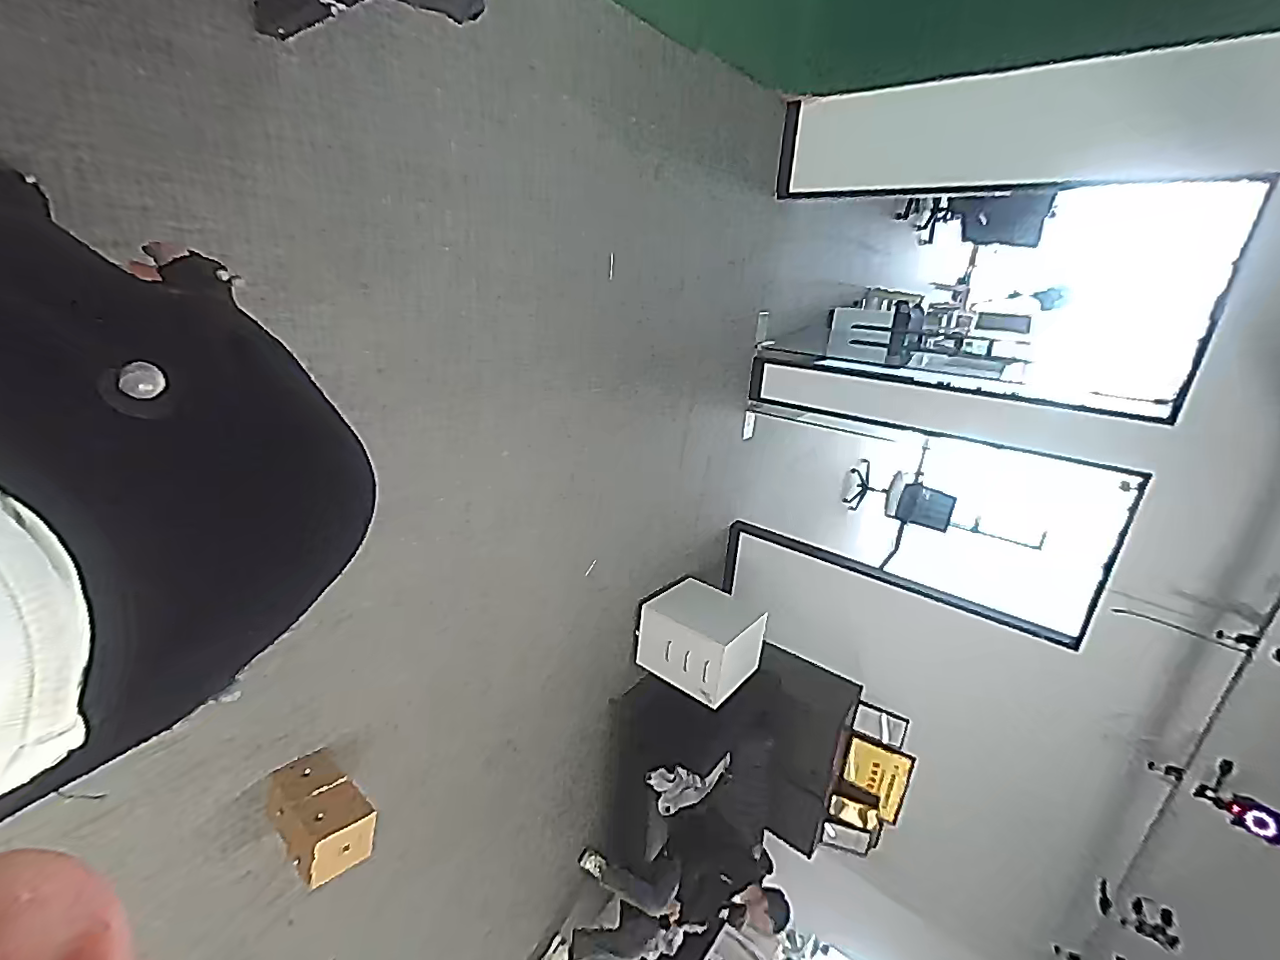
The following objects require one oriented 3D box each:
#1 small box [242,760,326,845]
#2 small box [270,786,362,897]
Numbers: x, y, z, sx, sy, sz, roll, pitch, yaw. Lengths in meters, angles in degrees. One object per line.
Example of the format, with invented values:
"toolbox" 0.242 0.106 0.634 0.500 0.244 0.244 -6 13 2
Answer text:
"small box" -1.078 1.015 1.678 0.179 0.176 0.168 -46 140 -36
"small box" -0.956 1.051 1.589 0.179 0.176 0.168 -3 110 -56
